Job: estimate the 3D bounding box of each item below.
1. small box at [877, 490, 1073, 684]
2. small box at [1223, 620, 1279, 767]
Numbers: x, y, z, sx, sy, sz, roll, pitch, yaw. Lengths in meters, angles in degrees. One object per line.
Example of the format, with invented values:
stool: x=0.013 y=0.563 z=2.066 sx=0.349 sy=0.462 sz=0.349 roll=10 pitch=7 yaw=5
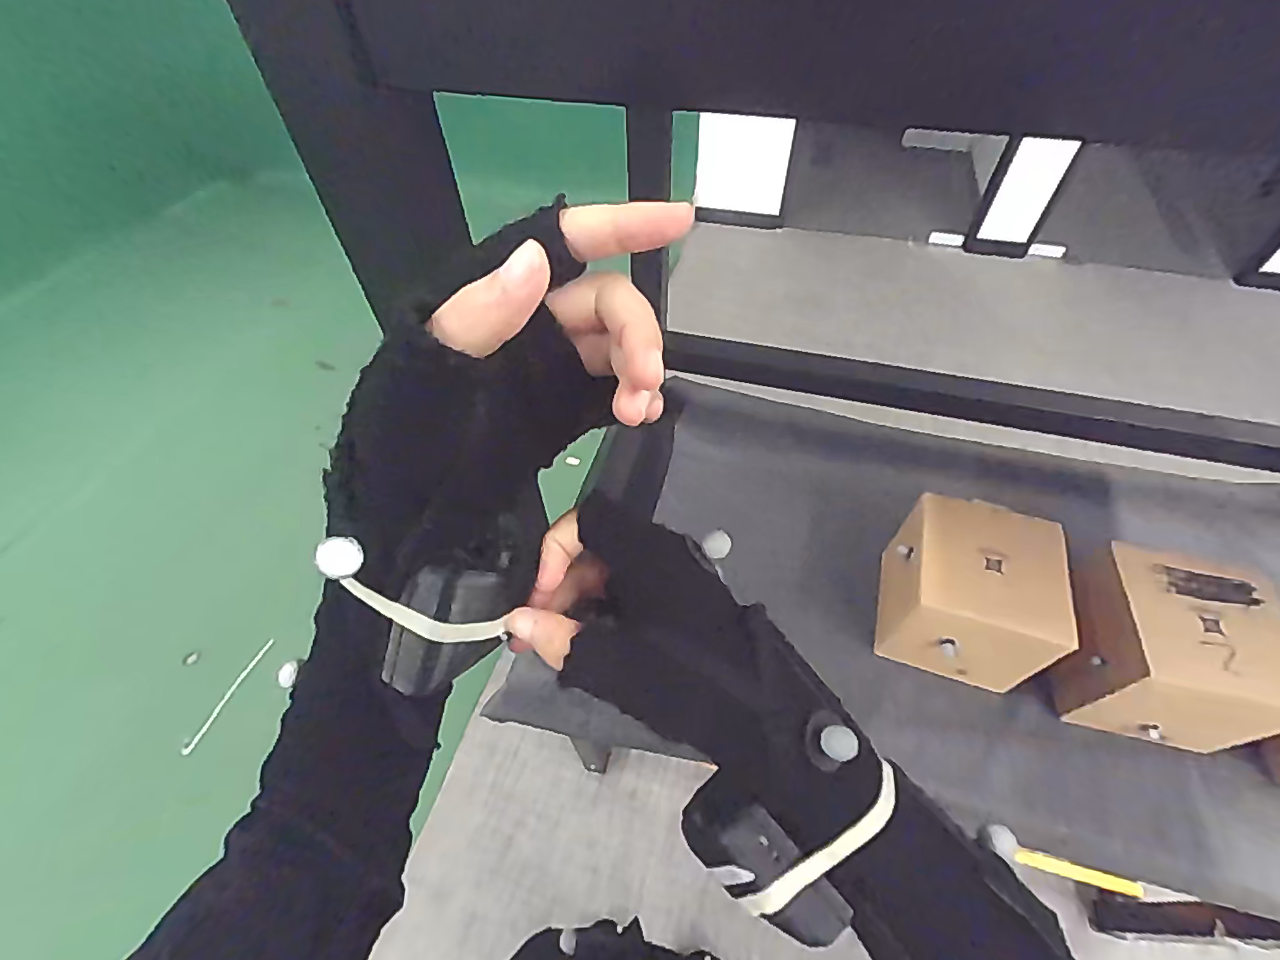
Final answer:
small box: x=0.429 y=0.146 z=0.720 sx=0.168 sy=0.176 sz=0.179 roll=15 pitch=53 yaw=13
small box: x=0.850 y=0.259 z=0.615 sx=0.168 sy=0.176 sz=0.179 roll=11 pitch=52 yaw=9
